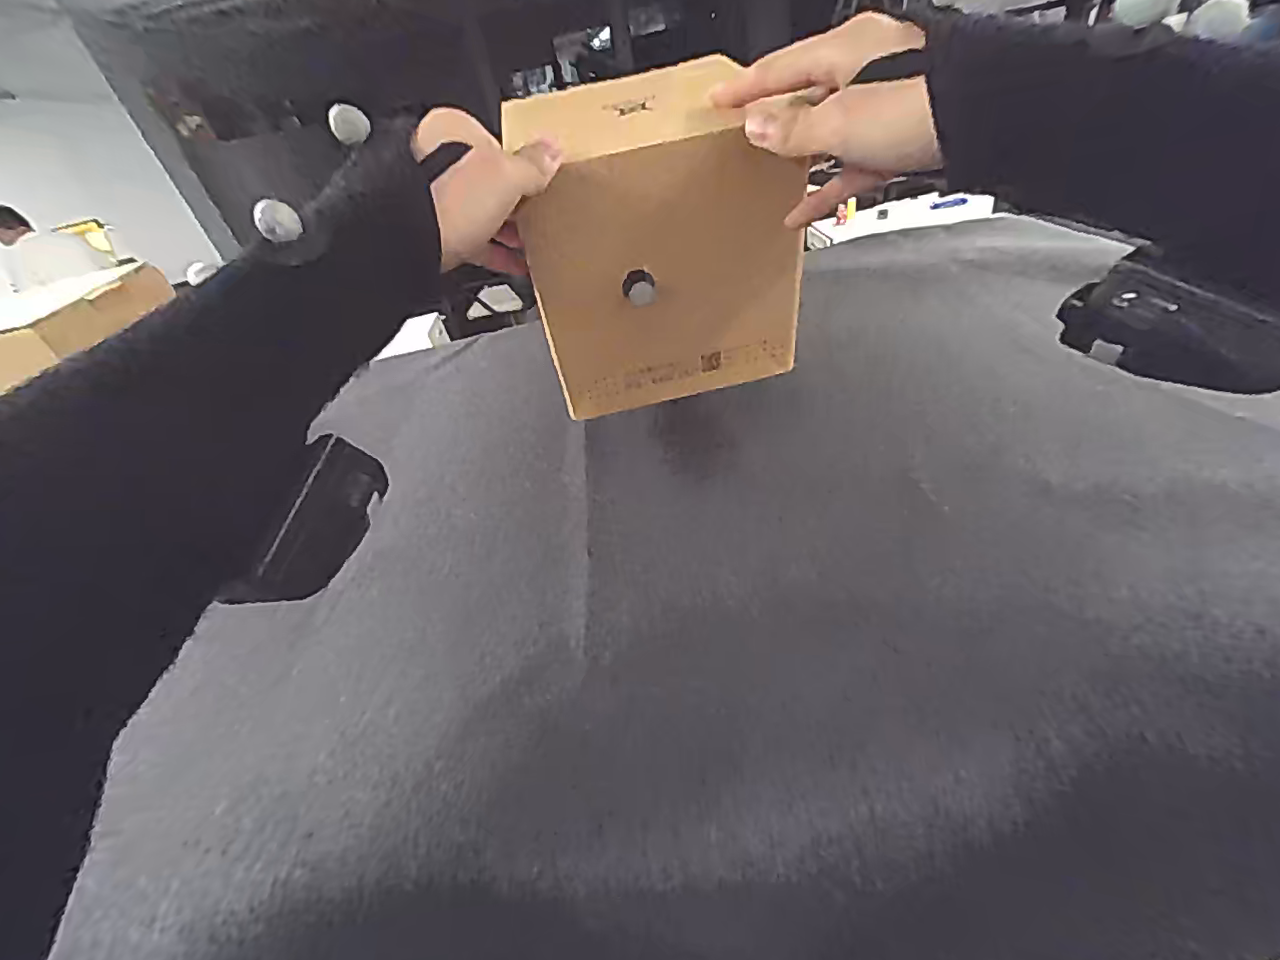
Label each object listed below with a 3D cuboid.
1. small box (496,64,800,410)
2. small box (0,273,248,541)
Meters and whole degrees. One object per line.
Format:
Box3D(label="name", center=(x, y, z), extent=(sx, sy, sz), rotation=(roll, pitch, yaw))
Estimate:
Box3D(label="small box", center=(0.003, -0.168, 0.391), extent=(0.168, 0.176, 0.179), rotation=(-14, 45, -2))
Box3D(label="small box", center=(-0.523, -0.069, 0.505), extent=(0.179, 0.176, 0.168), rotation=(-13, 37, 0))
